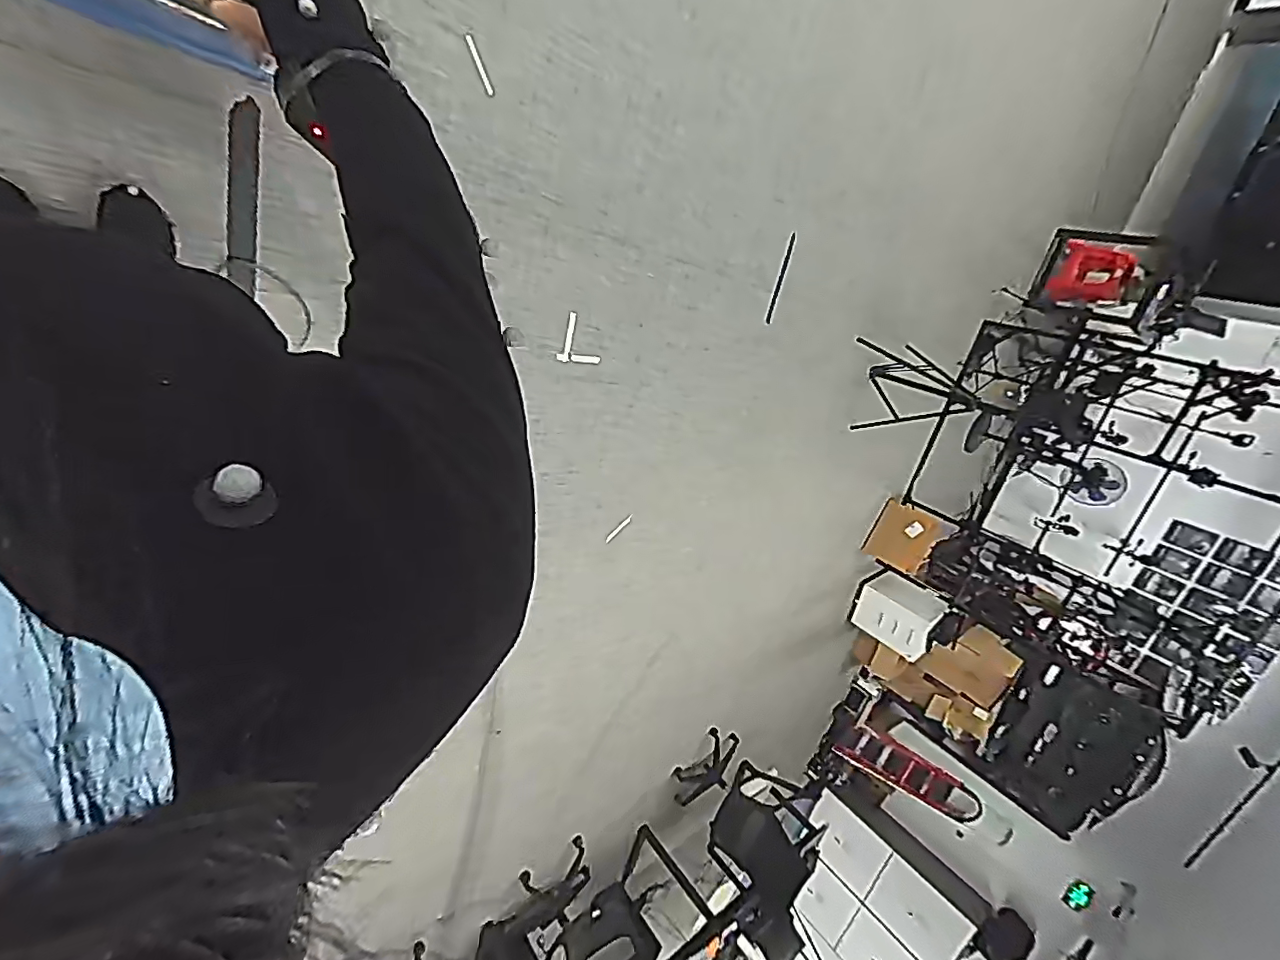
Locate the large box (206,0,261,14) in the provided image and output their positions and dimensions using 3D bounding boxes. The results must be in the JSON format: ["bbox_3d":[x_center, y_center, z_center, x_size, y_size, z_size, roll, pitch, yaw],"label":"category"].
[{"bbox_3d":[-0.671,-0.840,0.622,0.408,0.320,0.320,-3,118,-44],"label":"large box"}]
